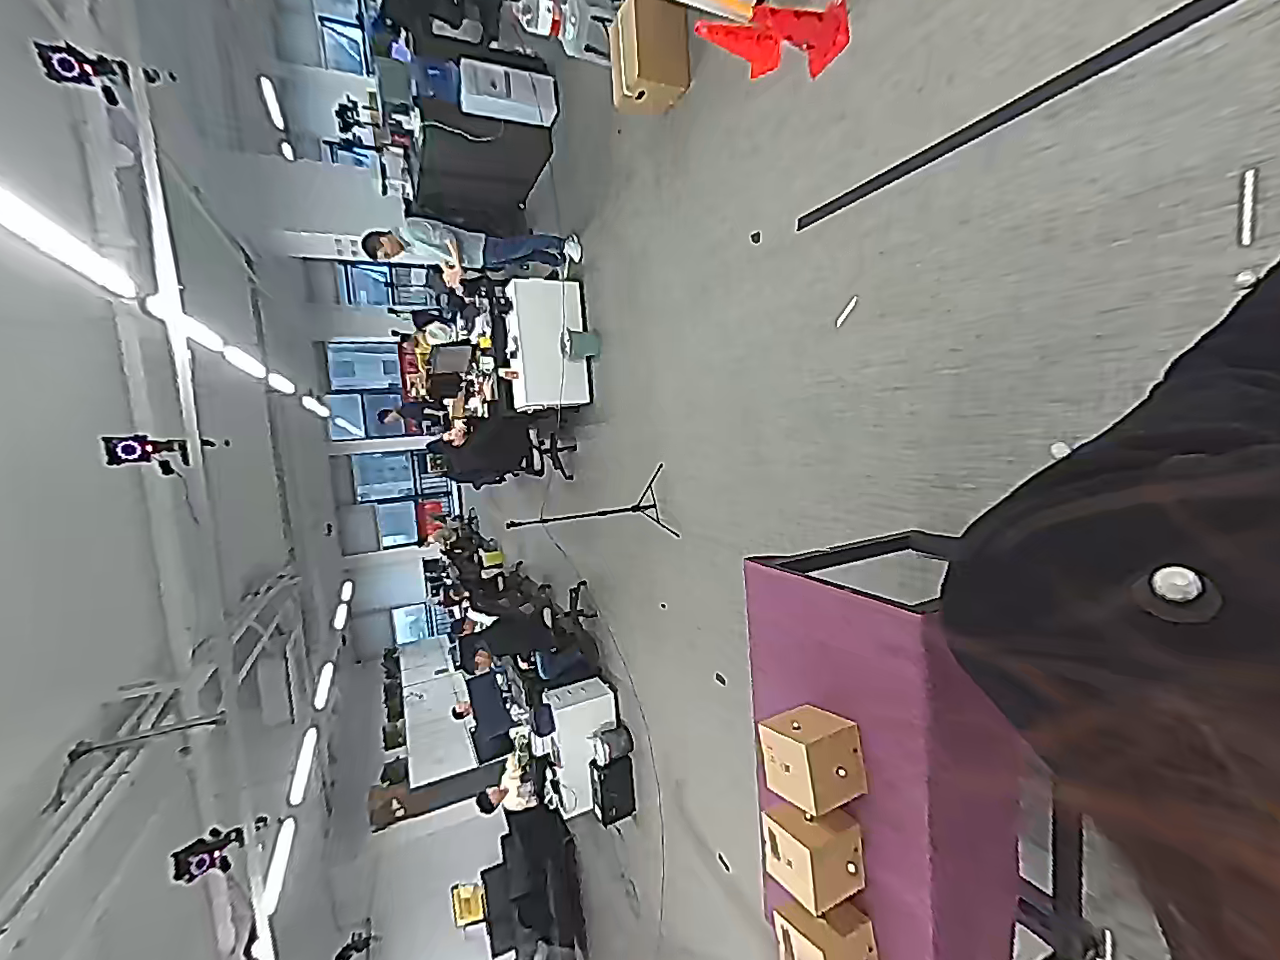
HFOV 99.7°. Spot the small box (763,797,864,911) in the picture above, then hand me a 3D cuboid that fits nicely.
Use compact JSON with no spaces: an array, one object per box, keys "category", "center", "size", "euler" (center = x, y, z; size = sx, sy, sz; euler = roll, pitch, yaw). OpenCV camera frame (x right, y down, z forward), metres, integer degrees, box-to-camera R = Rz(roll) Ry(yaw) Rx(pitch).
[{"category":"small box","center":[0.439,0.927,1.377],"size":[0.179,0.176,0.168],"euler":[-1,96,64]}]

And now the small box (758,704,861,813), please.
[{"category":"small box","center":[0.424,0.676,1.340],"size":[0.179,0.176,0.168],"euler":[-14,84,65]}]
